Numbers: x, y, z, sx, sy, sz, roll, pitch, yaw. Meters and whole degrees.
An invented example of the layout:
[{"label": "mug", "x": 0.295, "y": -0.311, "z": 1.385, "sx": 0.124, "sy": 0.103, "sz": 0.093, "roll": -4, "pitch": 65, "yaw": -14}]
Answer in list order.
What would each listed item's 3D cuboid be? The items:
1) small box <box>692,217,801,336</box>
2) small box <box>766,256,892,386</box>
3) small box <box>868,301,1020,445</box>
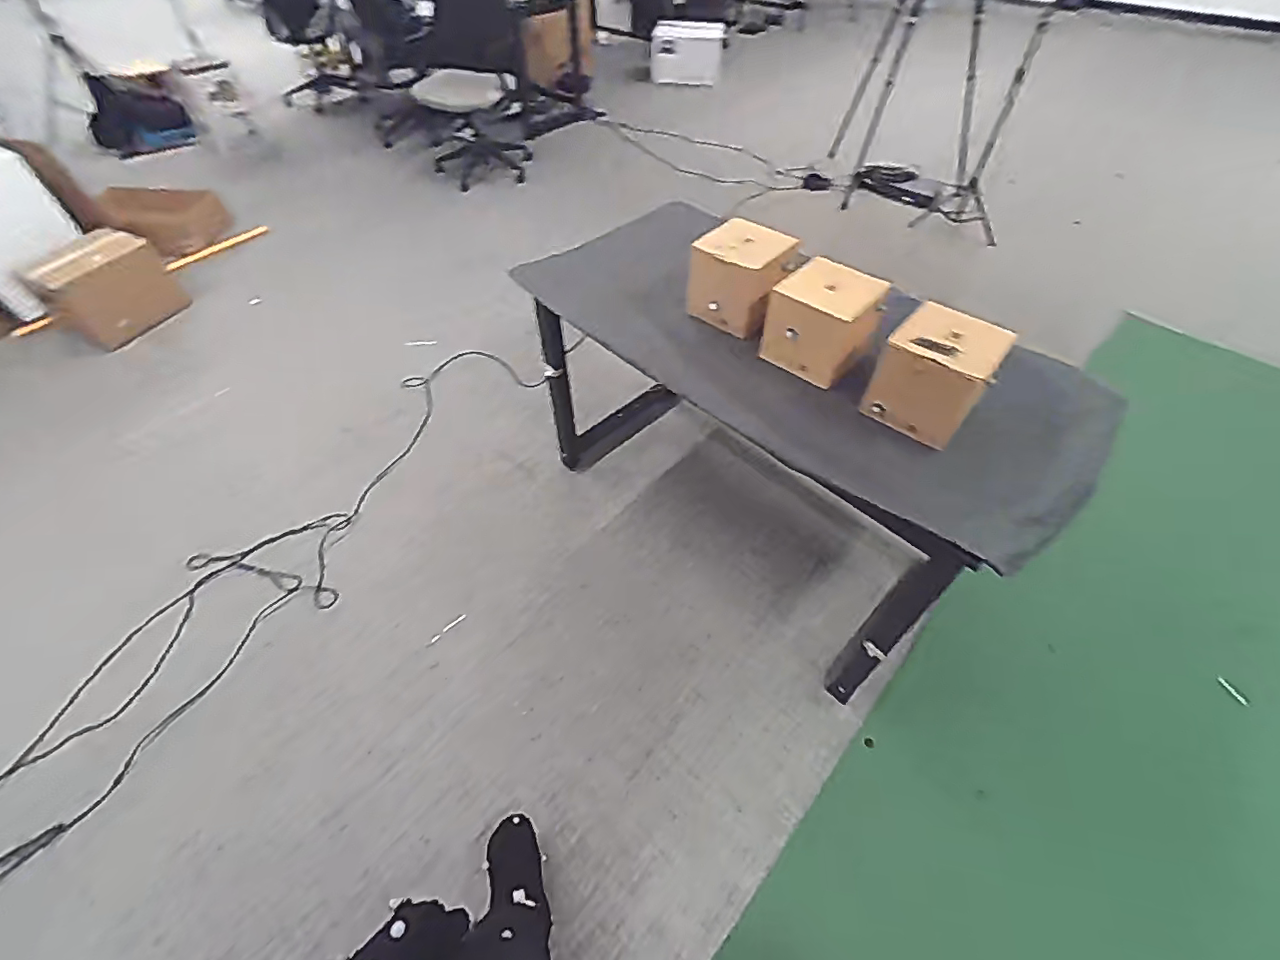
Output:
[{"label": "small box", "x": 0.230, "y": -0.456, "z": 1.214, "sx": 0.168, "sy": 0.176, "sz": 0.179, "roll": 34, "pitch": 58, "yaw": 25}, {"label": "small box", "x": 0.376, "y": -0.323, "z": 1.106, "sx": 0.168, "sy": 0.176, "sz": 0.179, "roll": 35, "pitch": 58, "yaw": 25}, {"label": "small box", "x": 0.547, "y": -0.194, "z": 0.997, "sx": 0.168, "sy": 0.176, "sz": 0.179, "roll": 35, "pitch": 57, "yaw": 25}]
